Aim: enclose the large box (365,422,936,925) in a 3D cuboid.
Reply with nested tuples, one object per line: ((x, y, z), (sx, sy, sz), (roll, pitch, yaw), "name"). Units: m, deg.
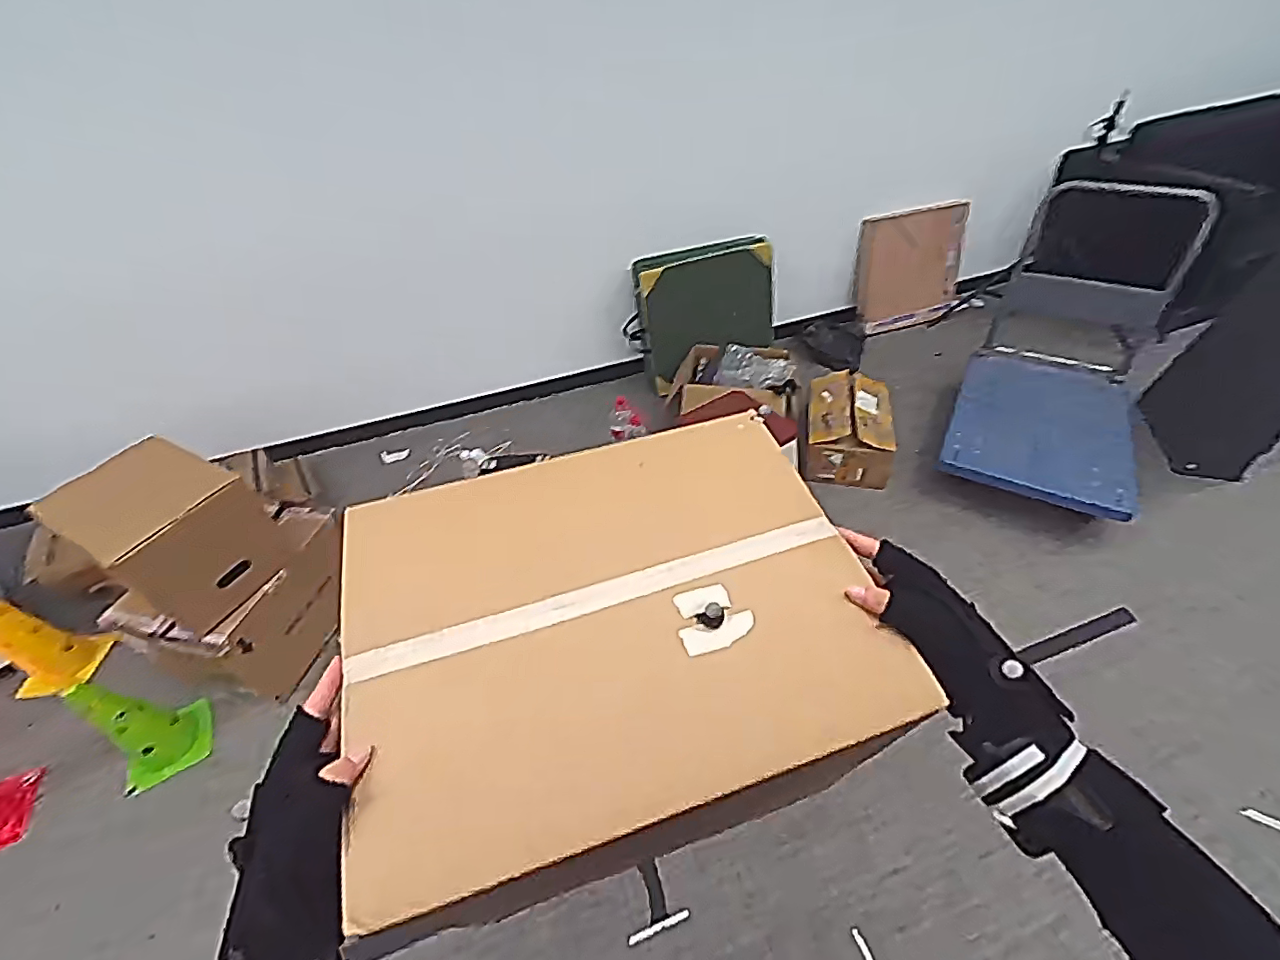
((-0.017, 0.192, 0.558), (0.408, 0.320, 0.320), (-14, 53, -12), "large box")
